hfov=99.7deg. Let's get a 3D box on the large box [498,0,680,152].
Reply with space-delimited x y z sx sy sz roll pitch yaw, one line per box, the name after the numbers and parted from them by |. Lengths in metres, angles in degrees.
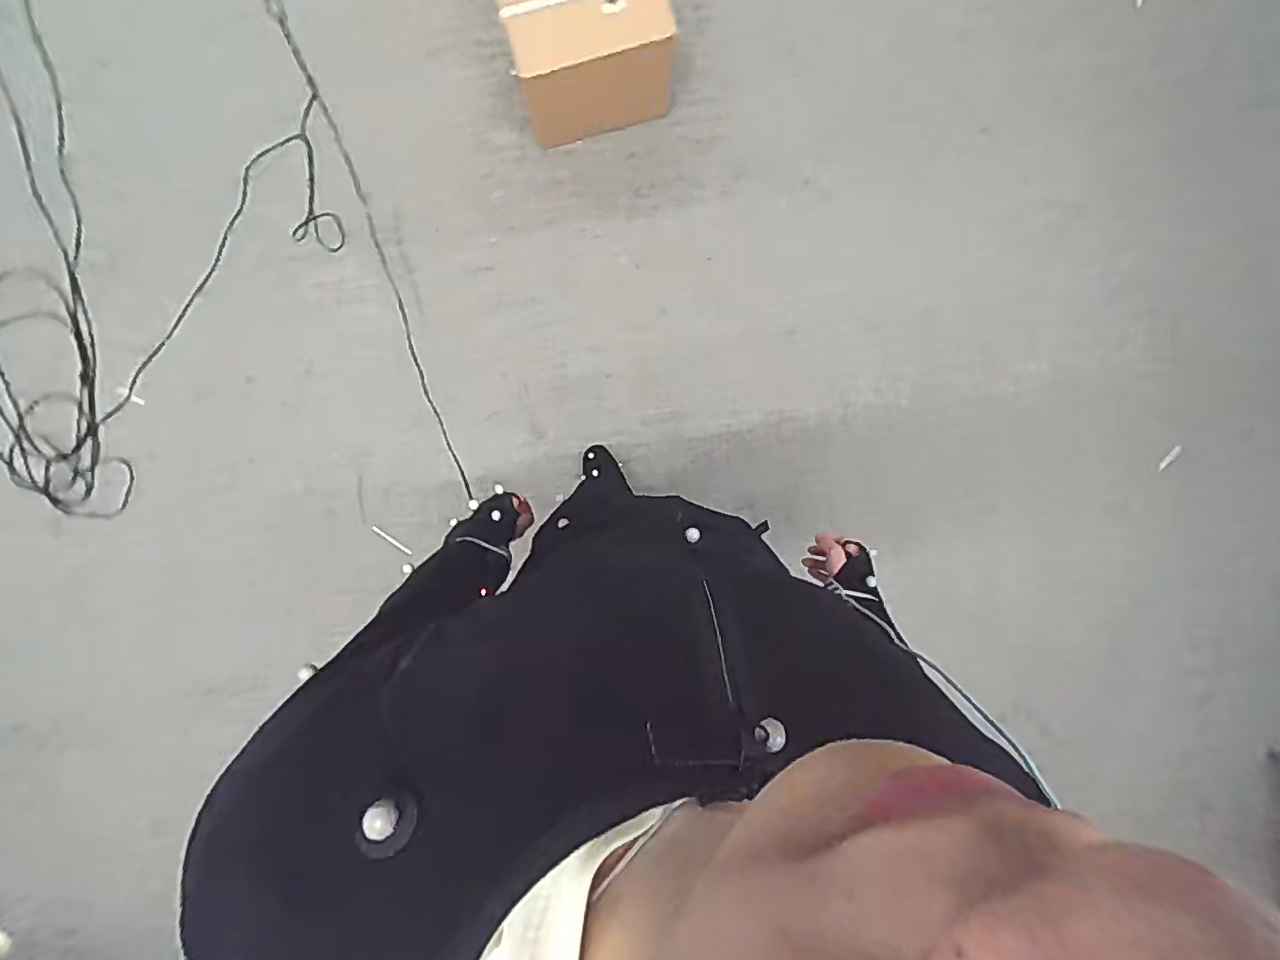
-0.136 -1.175 1.469 0.408 0.320 0.320 -16 92 -1 | large box
